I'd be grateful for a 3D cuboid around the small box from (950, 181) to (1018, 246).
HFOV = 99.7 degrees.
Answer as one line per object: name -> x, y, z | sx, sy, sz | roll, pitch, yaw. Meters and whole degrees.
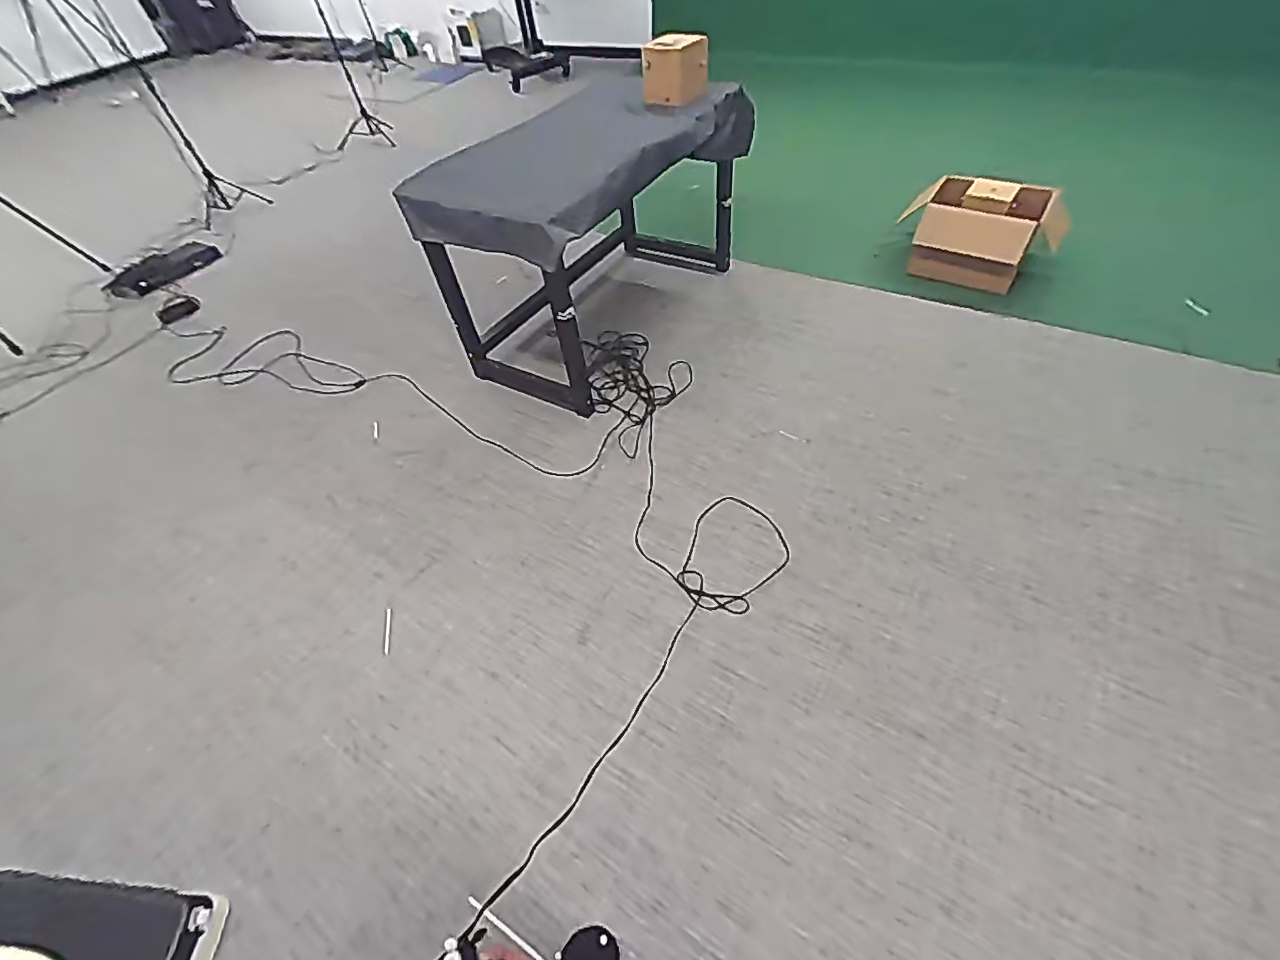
small box -> 1.389, -1.080, 2.191 | 0.168, 0.176, 0.179 | 27, 57, 26
